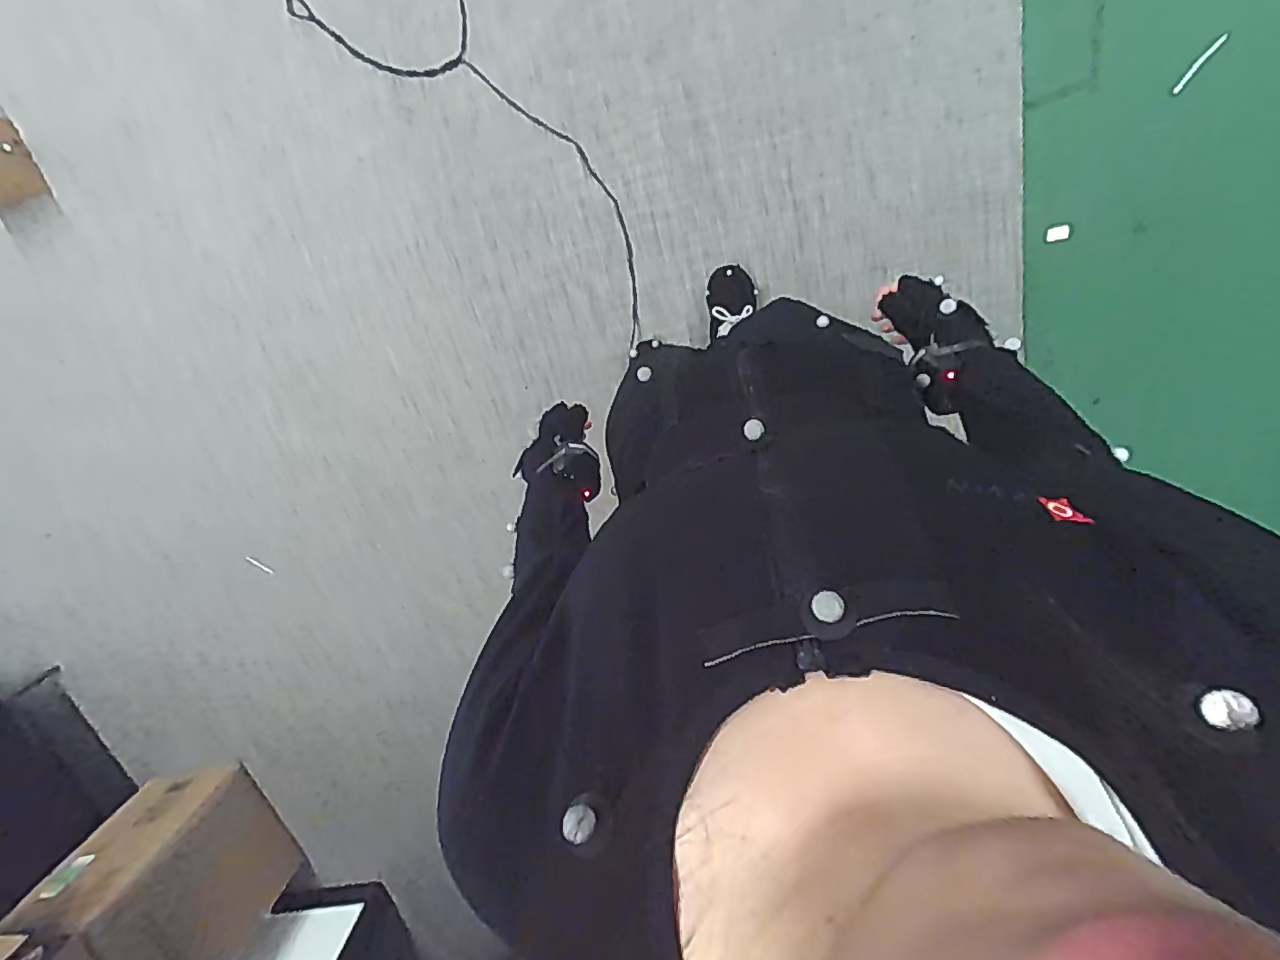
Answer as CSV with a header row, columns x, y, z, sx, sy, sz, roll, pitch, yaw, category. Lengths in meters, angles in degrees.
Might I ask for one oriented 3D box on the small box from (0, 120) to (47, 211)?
x,y,z,sx,sy,sz,roll,pitch,yaw,category
-1.604,-0.757,1.284,0.179,0.176,0.168,-14,109,9,small box
